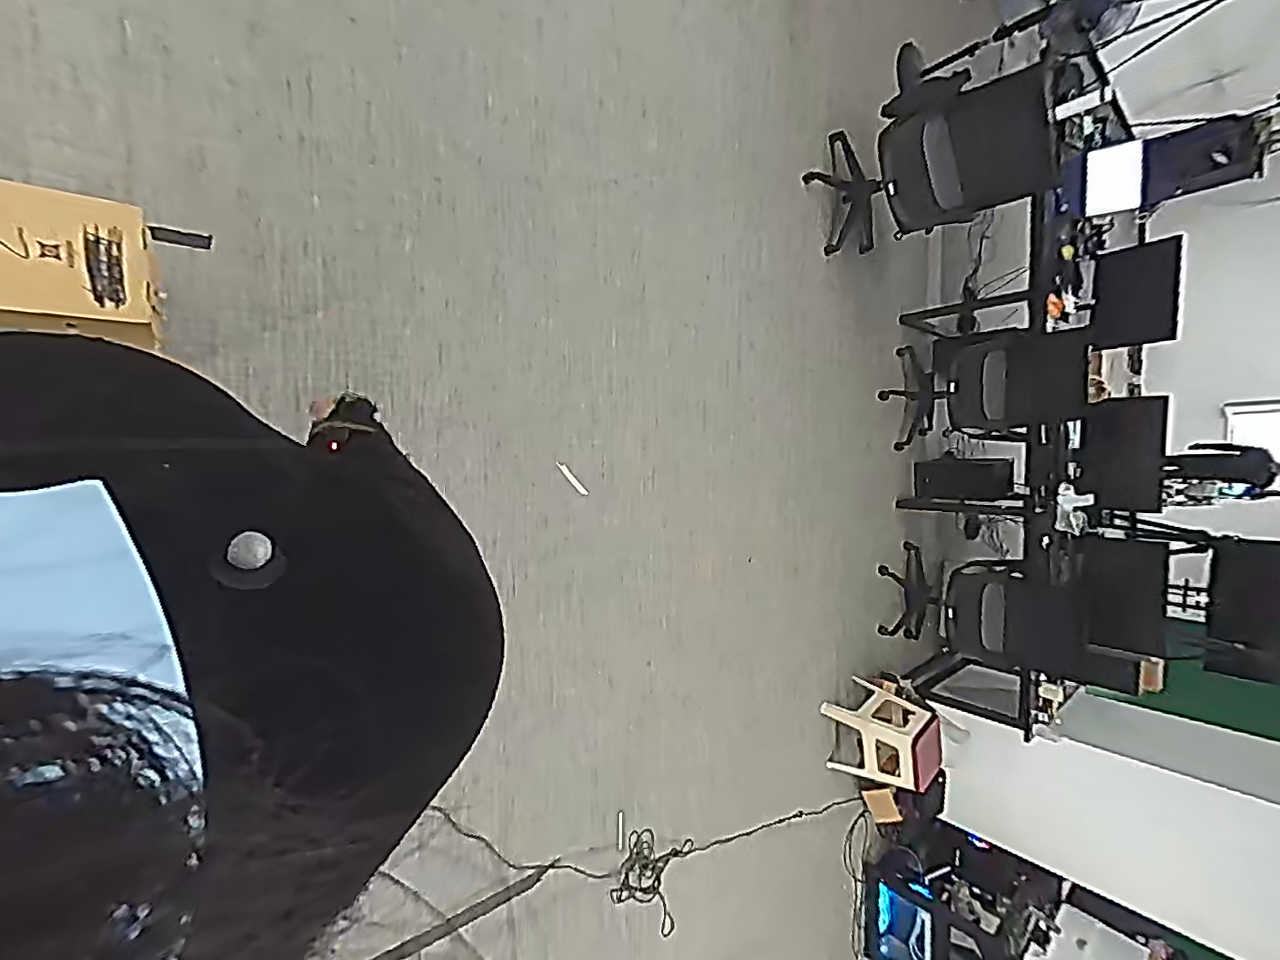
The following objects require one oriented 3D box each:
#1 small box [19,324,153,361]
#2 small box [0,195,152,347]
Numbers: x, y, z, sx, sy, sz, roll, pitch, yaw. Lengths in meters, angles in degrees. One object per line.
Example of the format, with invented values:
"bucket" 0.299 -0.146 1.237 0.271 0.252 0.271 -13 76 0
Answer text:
"small box" -1.033 -0.325 1.016 0.168 0.176 0.179 -5 94 -41
"small box" -0.924 -0.330 0.895 0.168 0.176 0.179 -2 93 -41
